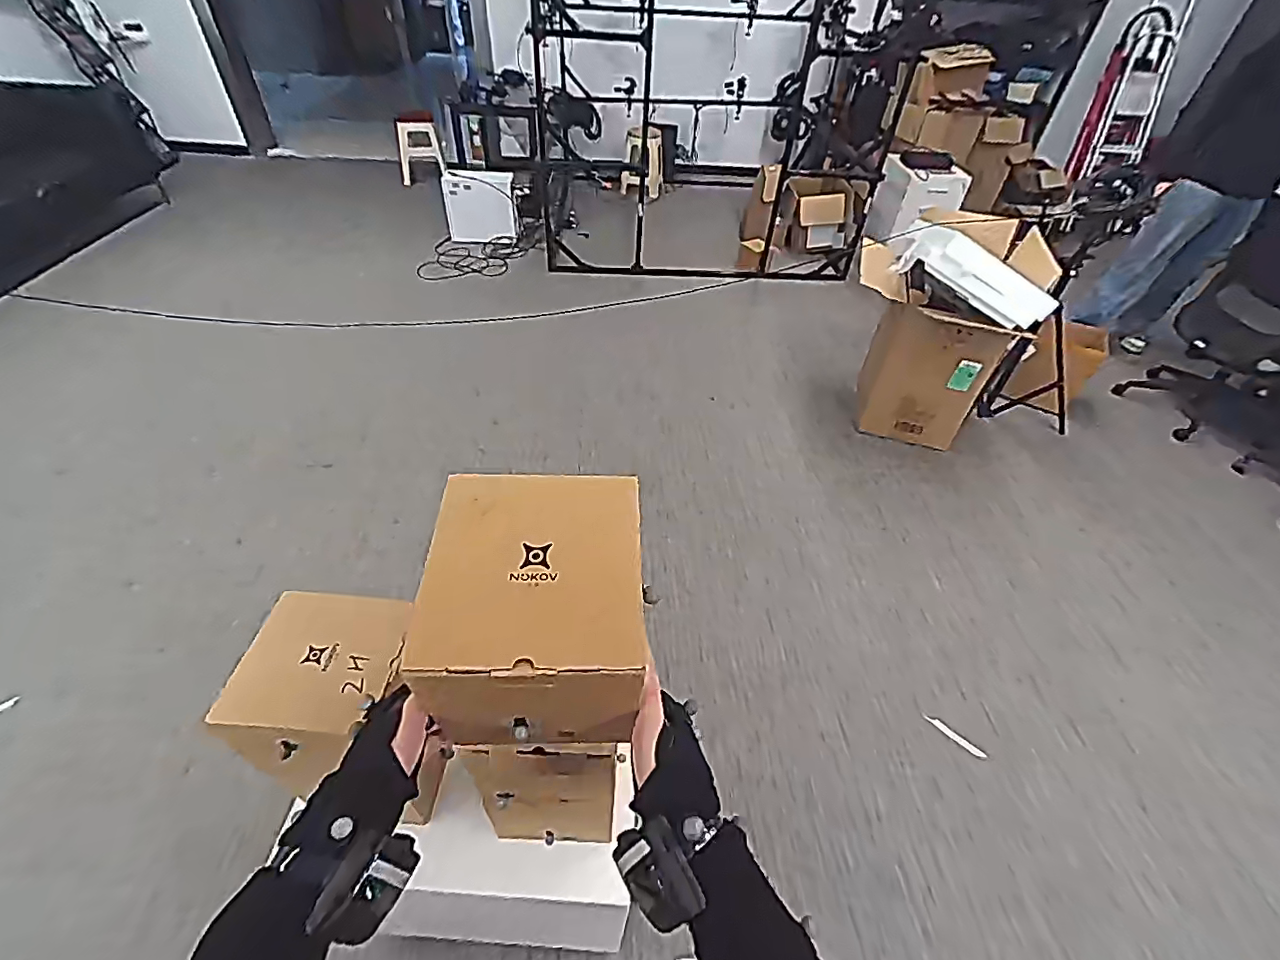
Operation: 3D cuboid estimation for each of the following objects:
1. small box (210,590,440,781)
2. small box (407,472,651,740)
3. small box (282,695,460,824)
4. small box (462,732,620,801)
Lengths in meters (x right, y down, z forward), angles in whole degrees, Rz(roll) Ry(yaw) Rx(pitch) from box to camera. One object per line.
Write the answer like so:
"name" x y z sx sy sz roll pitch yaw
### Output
"small box" -0.366 0.260 0.678 0.179 0.176 0.168 5 45 0
"small box" -0.081 0.113 0.476 0.168 0.176 0.179 1 51 -4
"small box" -0.375 0.375 0.796 0.168 0.176 0.179 5 43 1
"small box" -0.105 0.282 0.677 0.168 0.176 0.179 3 43 -1
